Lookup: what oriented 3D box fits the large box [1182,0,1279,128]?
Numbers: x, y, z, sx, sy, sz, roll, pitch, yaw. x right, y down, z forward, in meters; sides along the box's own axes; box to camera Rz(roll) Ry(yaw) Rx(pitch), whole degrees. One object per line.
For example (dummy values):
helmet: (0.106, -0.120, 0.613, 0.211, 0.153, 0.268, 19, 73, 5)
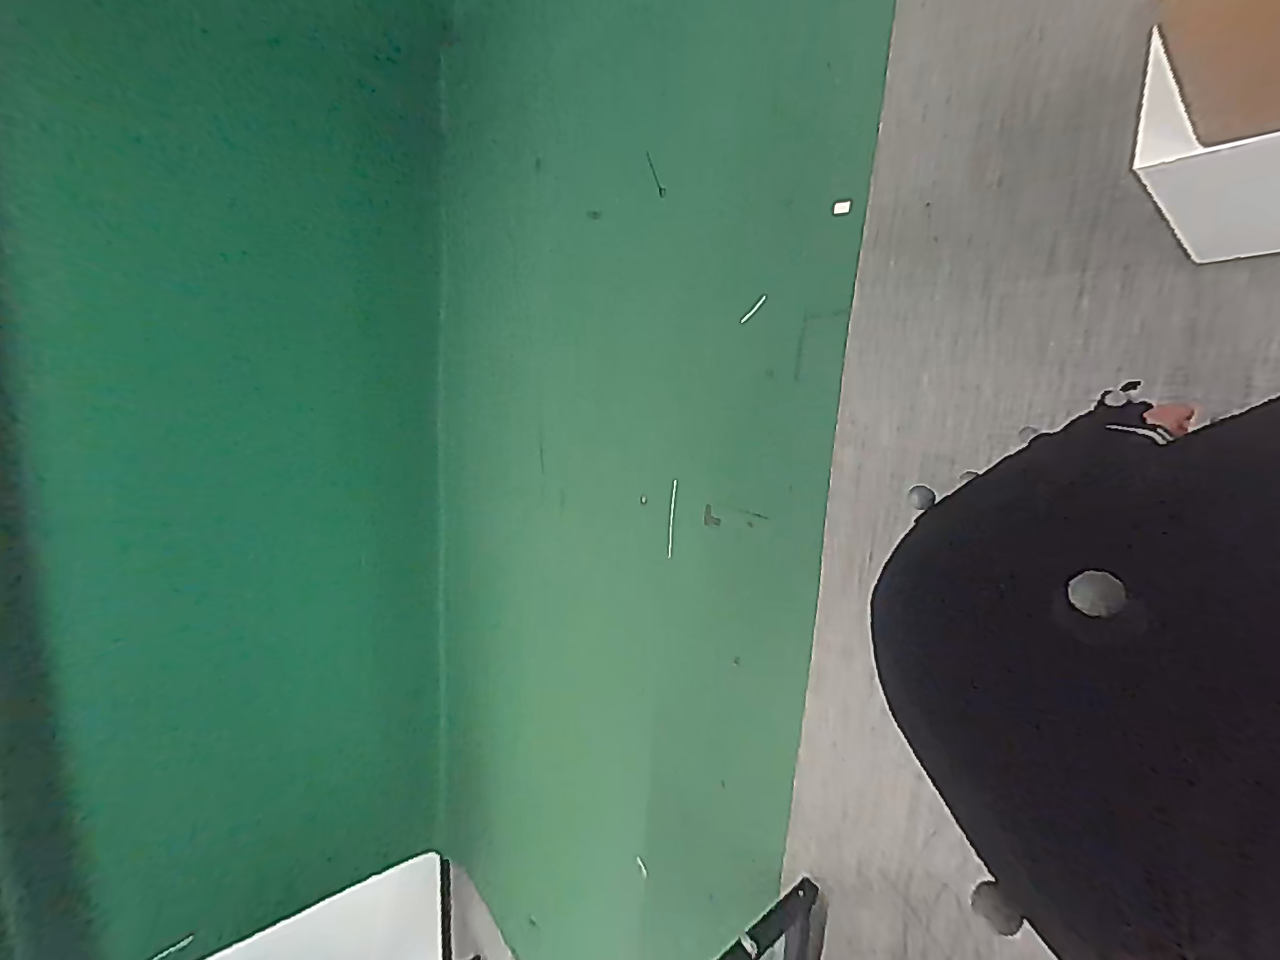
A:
large box: (0.595, -0.467, 0.285, 0.408, 0.320, 0.320, 12, 104, 48)
